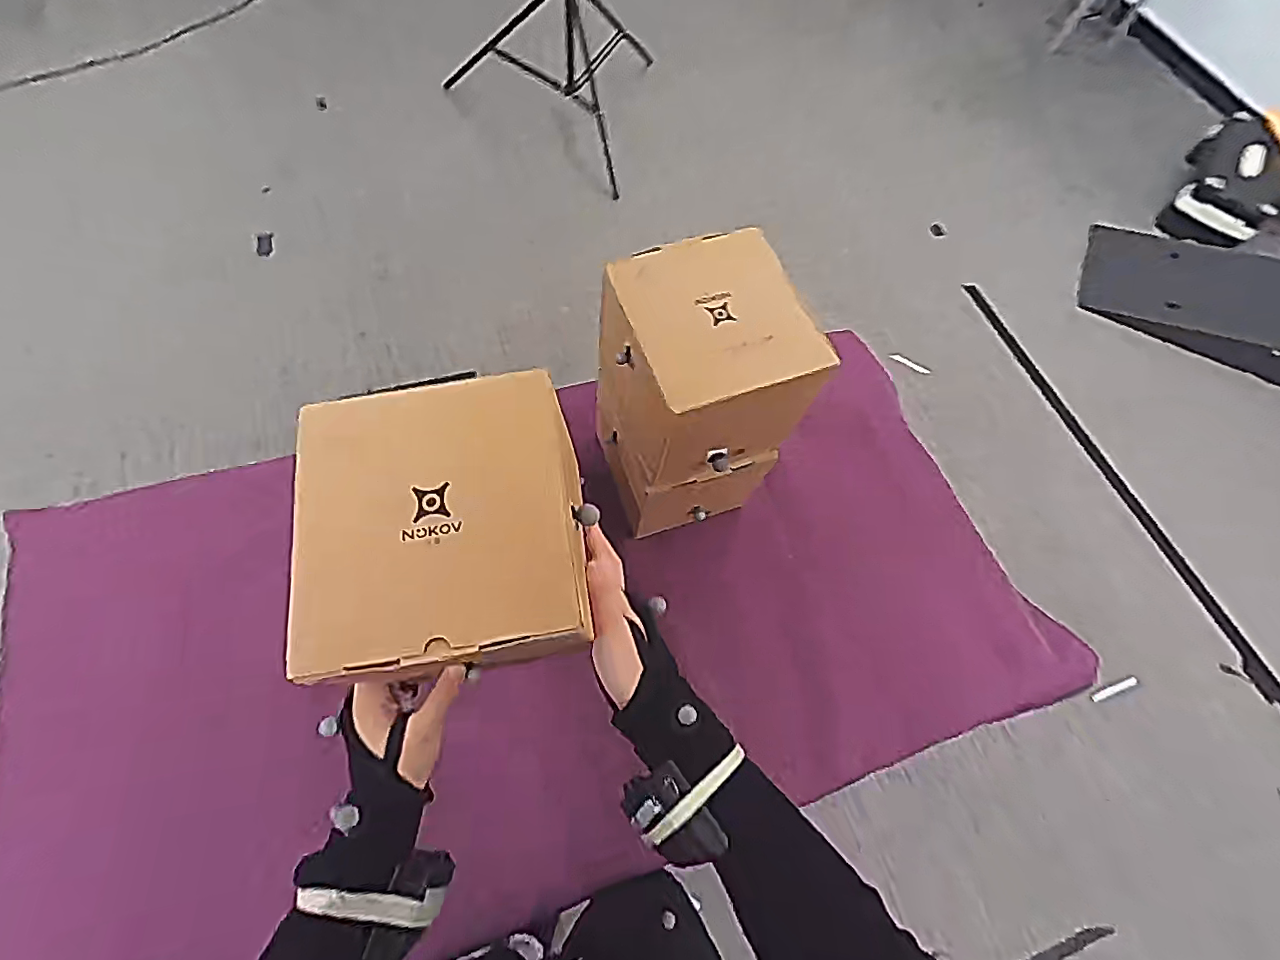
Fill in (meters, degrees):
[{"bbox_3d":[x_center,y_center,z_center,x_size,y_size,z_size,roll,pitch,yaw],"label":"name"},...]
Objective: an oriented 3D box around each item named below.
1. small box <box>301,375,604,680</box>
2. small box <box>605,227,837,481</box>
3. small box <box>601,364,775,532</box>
[{"bbox_3d":[-0.121,0.047,0.408,0.168,0.176,0.179,-9,70,-4],"label":"small box"},{"bbox_3d":[0.066,-0.124,0.570,0.168,0.176,0.179,-19,71,-12],"label":"small box"},{"bbox_3d":[0.048,-0.054,0.715,0.168,0.176,0.179,-17,70,-11],"label":"small box"}]
